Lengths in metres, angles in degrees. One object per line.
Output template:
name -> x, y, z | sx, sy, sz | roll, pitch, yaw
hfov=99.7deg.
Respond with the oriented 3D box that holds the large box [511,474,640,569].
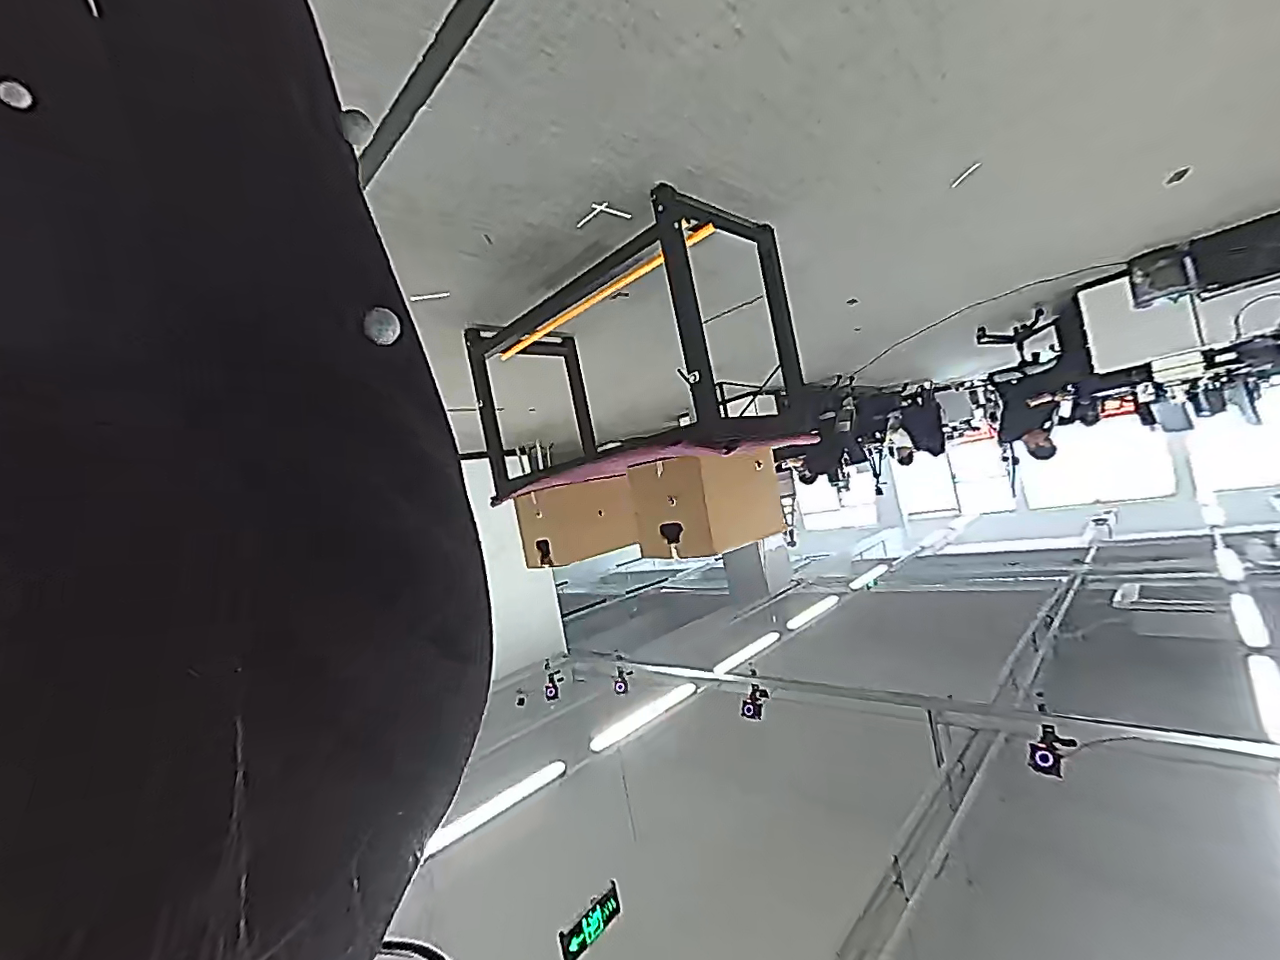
large box -> -0.274, 0.170, 2.284 | 0.320, 0.320, 0.408 | -12, 179, 44
